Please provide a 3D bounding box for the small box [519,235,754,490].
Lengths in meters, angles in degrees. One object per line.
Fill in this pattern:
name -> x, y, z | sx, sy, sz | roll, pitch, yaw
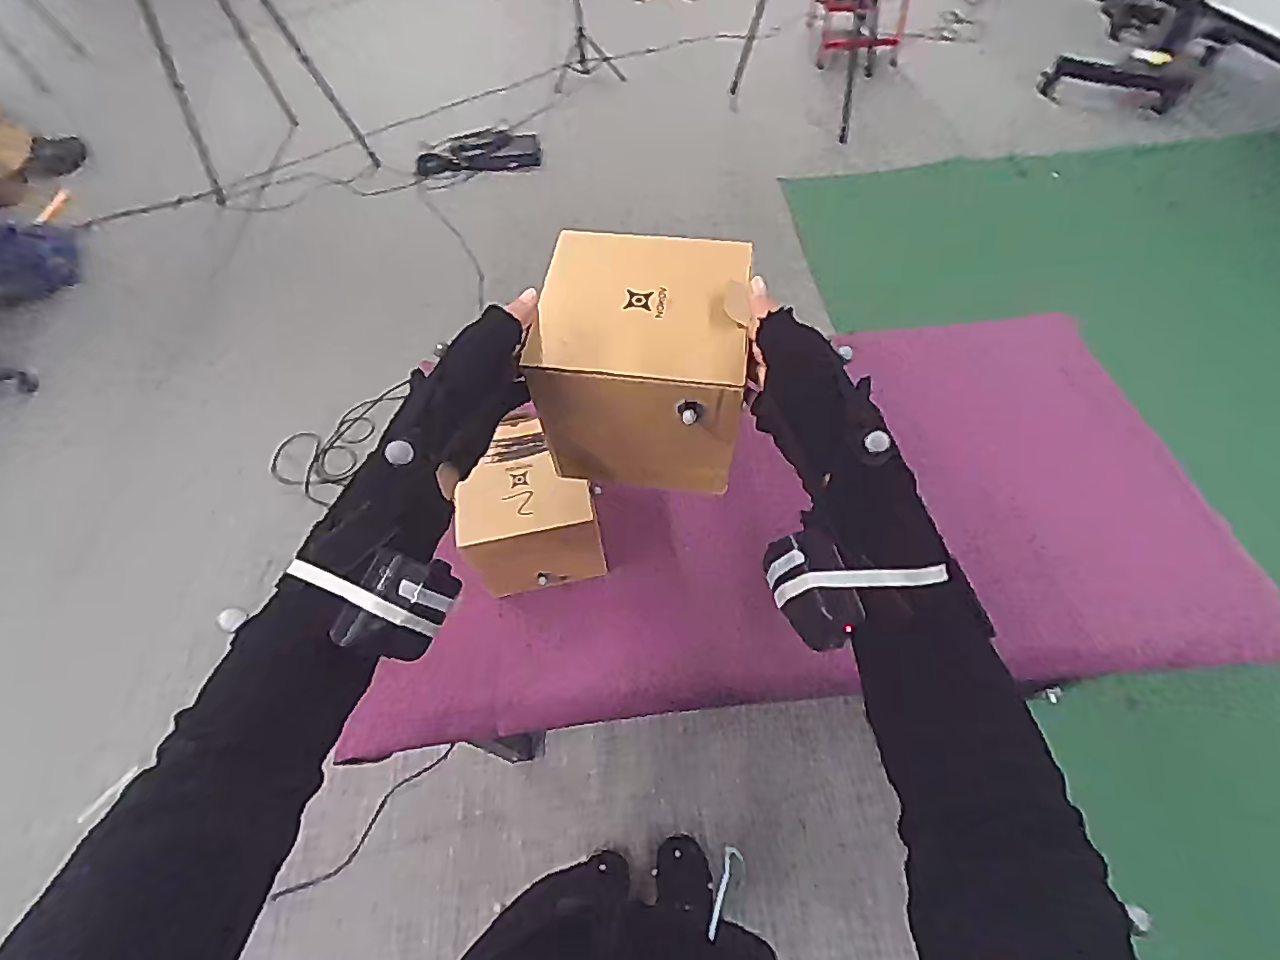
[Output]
small box -> 0.006, -0.104, 0.513 | 0.179, 0.176, 0.168 | 6, 60, 5
